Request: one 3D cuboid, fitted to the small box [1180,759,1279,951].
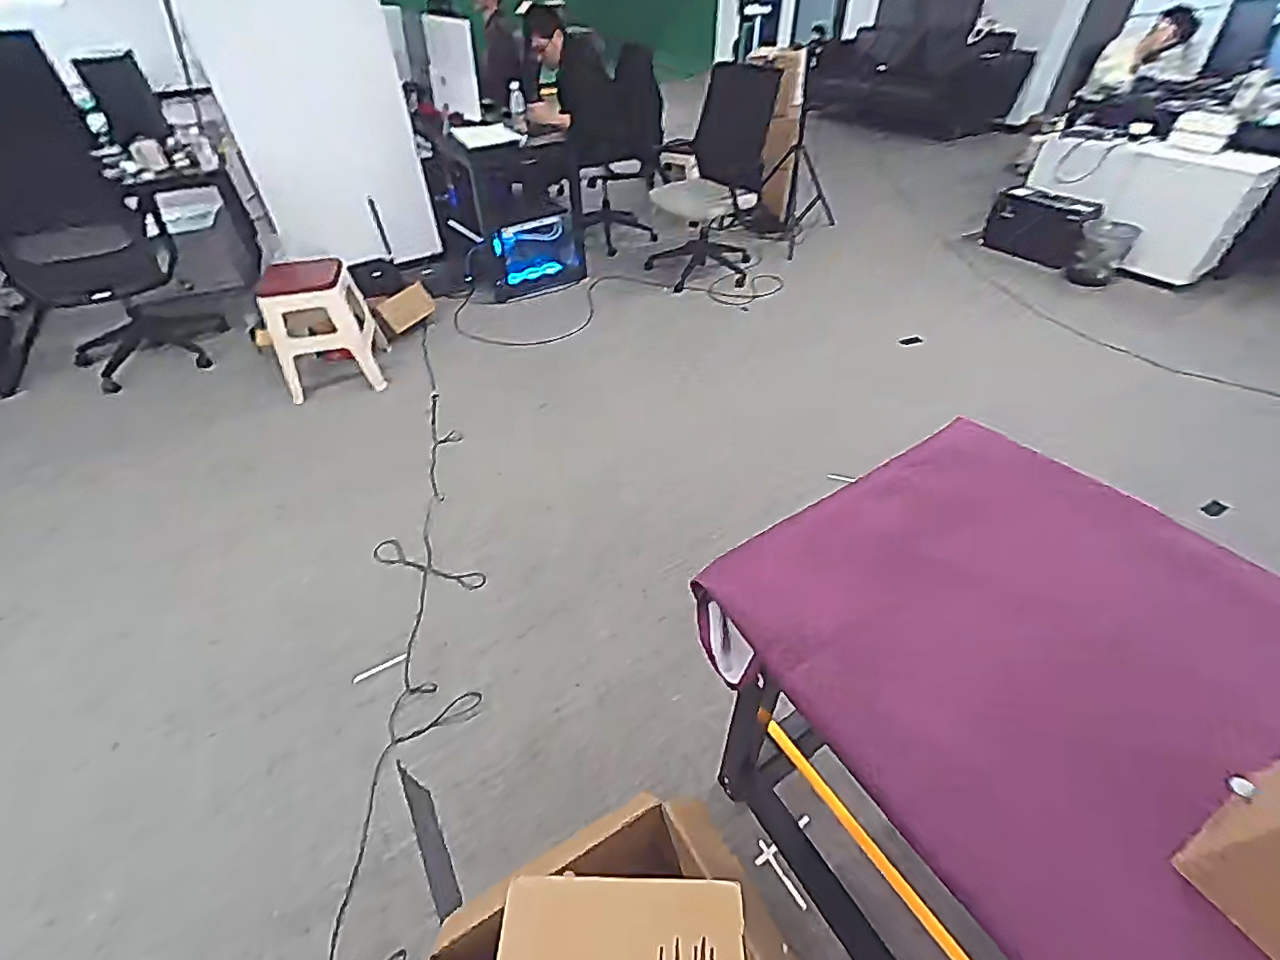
[{"bbox_3d":[0.614,0.320,0.429,0.168,0.176,0.179,-22,45,-20],"label":"small box"}]
